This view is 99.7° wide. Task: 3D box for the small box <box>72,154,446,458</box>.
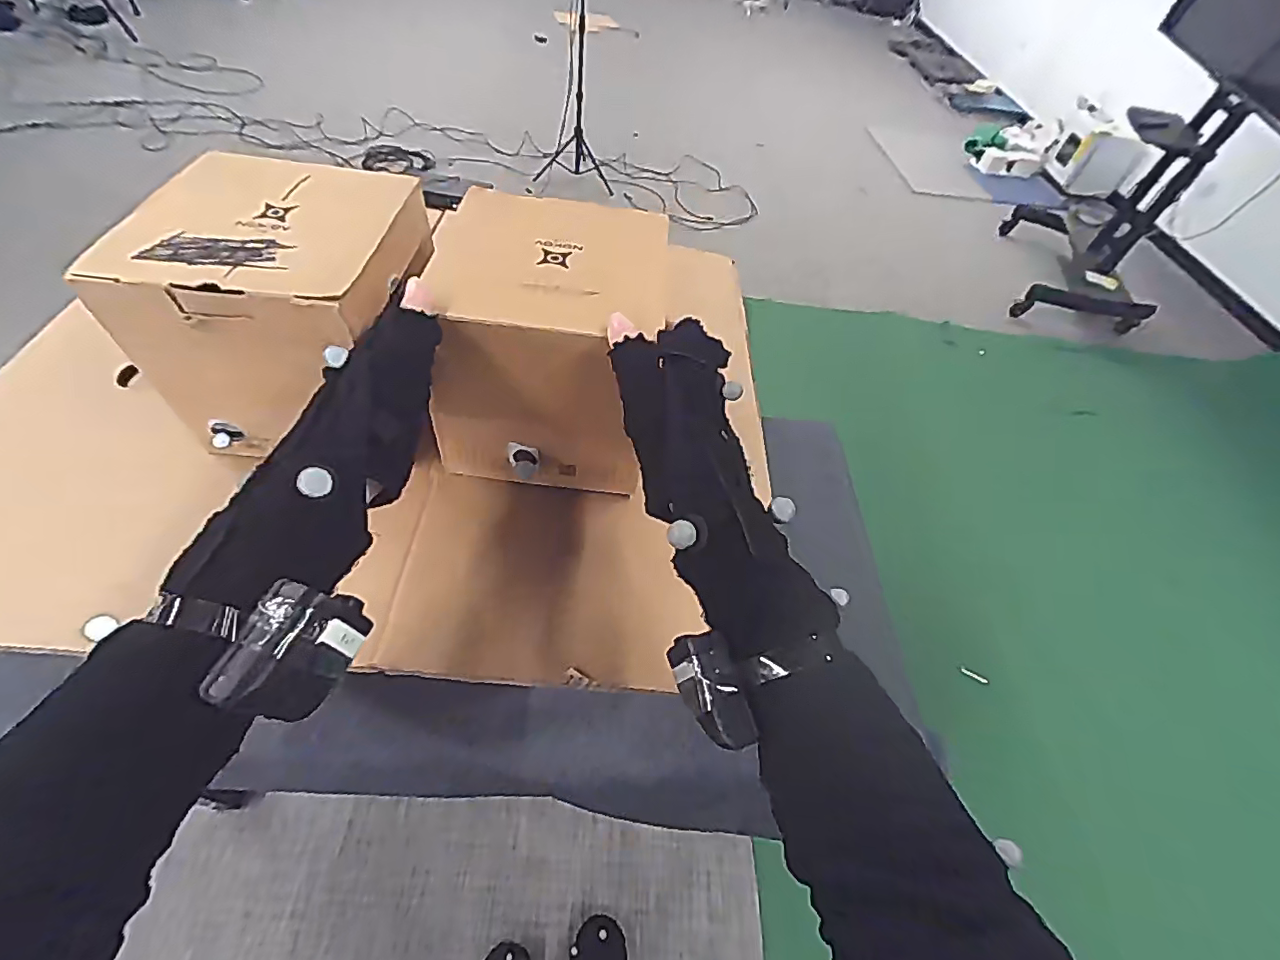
[{"bbox_3d":[-0.273,-0.137,0.449,0.168,0.176,0.179,5,52,-4],"label":"small box"}]
